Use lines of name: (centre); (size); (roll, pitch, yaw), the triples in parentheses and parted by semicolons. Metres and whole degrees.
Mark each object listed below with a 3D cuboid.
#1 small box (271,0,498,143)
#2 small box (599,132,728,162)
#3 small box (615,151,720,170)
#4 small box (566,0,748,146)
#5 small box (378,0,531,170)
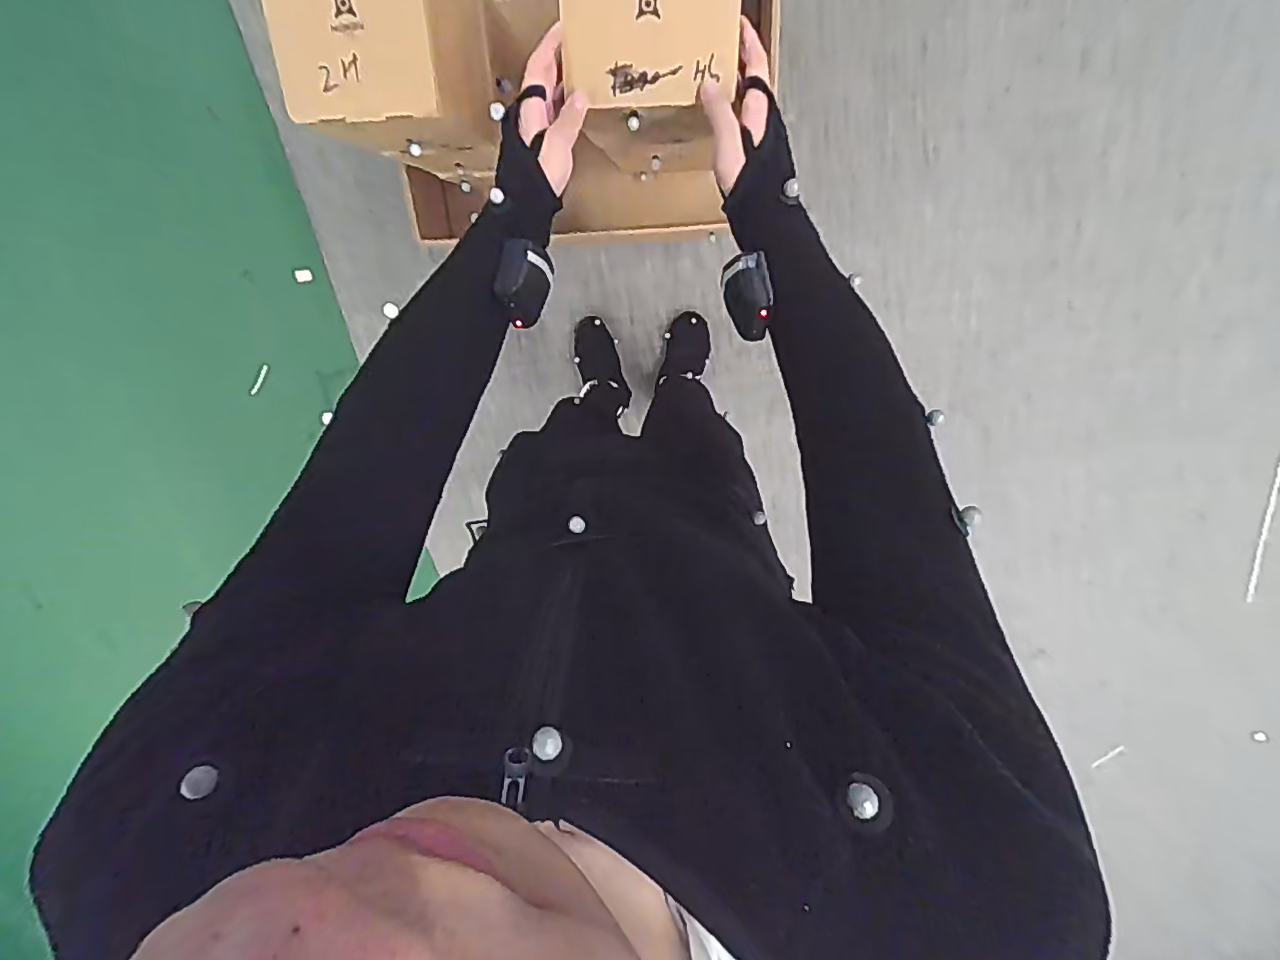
small box: (-0.271, -0.488, 0.598); (0.168, 0.176, 0.179); (1, 115, 6)
small box: (0.035, -0.540, 0.721); (0.168, 0.176, 0.179); (1, 113, 6)
small box: (0.049, -0.607, 0.869); (0.168, 0.176, 0.179); (1, 112, 5)
small box: (0.021, -0.464, 0.555); (0.168, 0.176, 0.179); (3, 110, 6)
small box: (-0.258, -0.544, 0.751); (0.168, 0.176, 0.179); (1, 113, 5)
